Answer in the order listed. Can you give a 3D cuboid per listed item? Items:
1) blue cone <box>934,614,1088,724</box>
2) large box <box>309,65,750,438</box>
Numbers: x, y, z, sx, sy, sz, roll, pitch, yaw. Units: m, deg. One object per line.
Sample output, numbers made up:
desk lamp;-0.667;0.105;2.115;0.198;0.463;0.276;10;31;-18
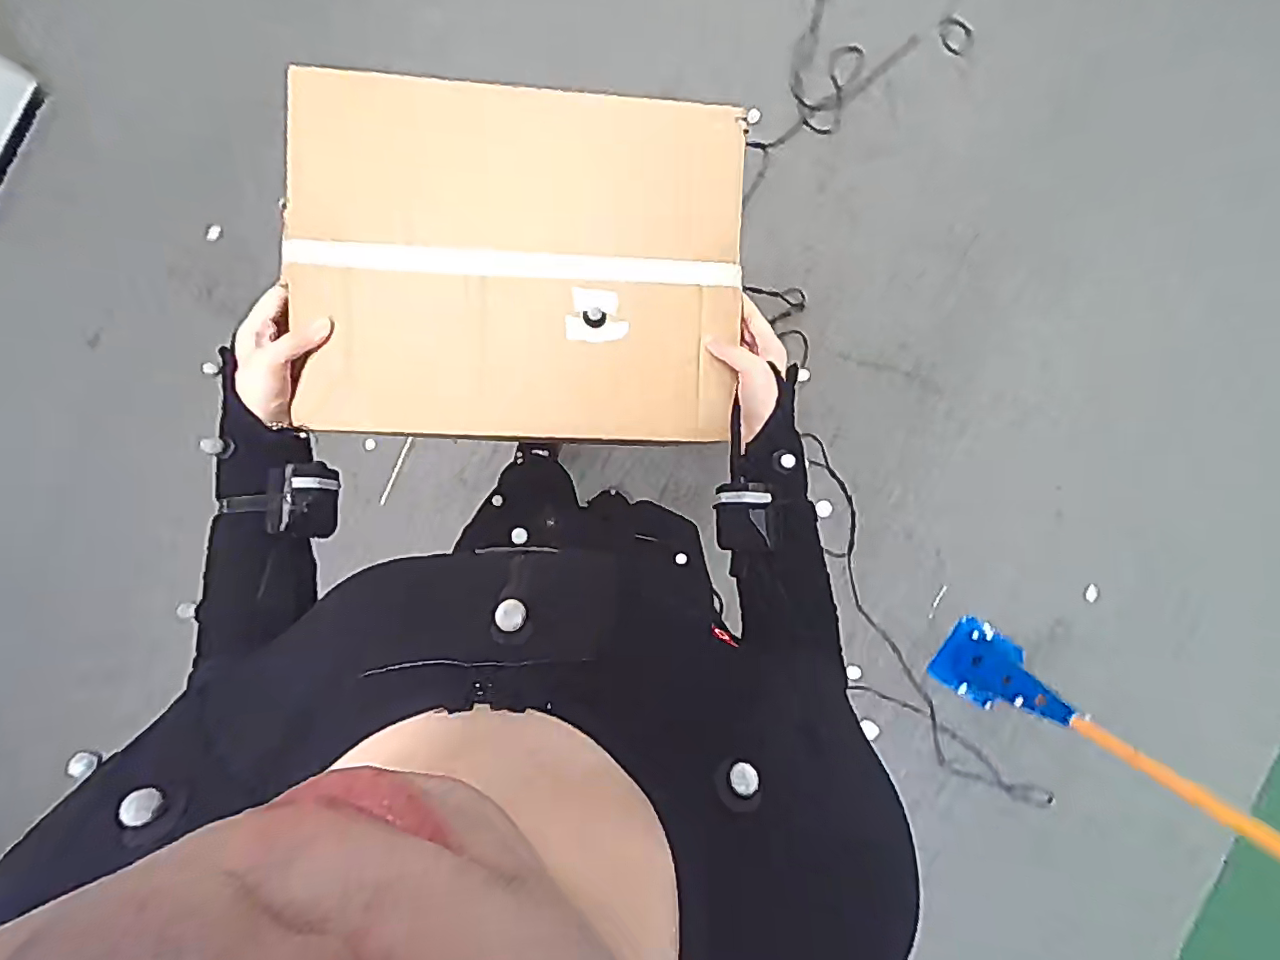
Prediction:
blue cone;0.919;0.486;1.321;0.192;0.380;0.193;34;92;0
large box;-0.115;-0.214;0.650;0.408;0.320;0.320;2;93;-7
